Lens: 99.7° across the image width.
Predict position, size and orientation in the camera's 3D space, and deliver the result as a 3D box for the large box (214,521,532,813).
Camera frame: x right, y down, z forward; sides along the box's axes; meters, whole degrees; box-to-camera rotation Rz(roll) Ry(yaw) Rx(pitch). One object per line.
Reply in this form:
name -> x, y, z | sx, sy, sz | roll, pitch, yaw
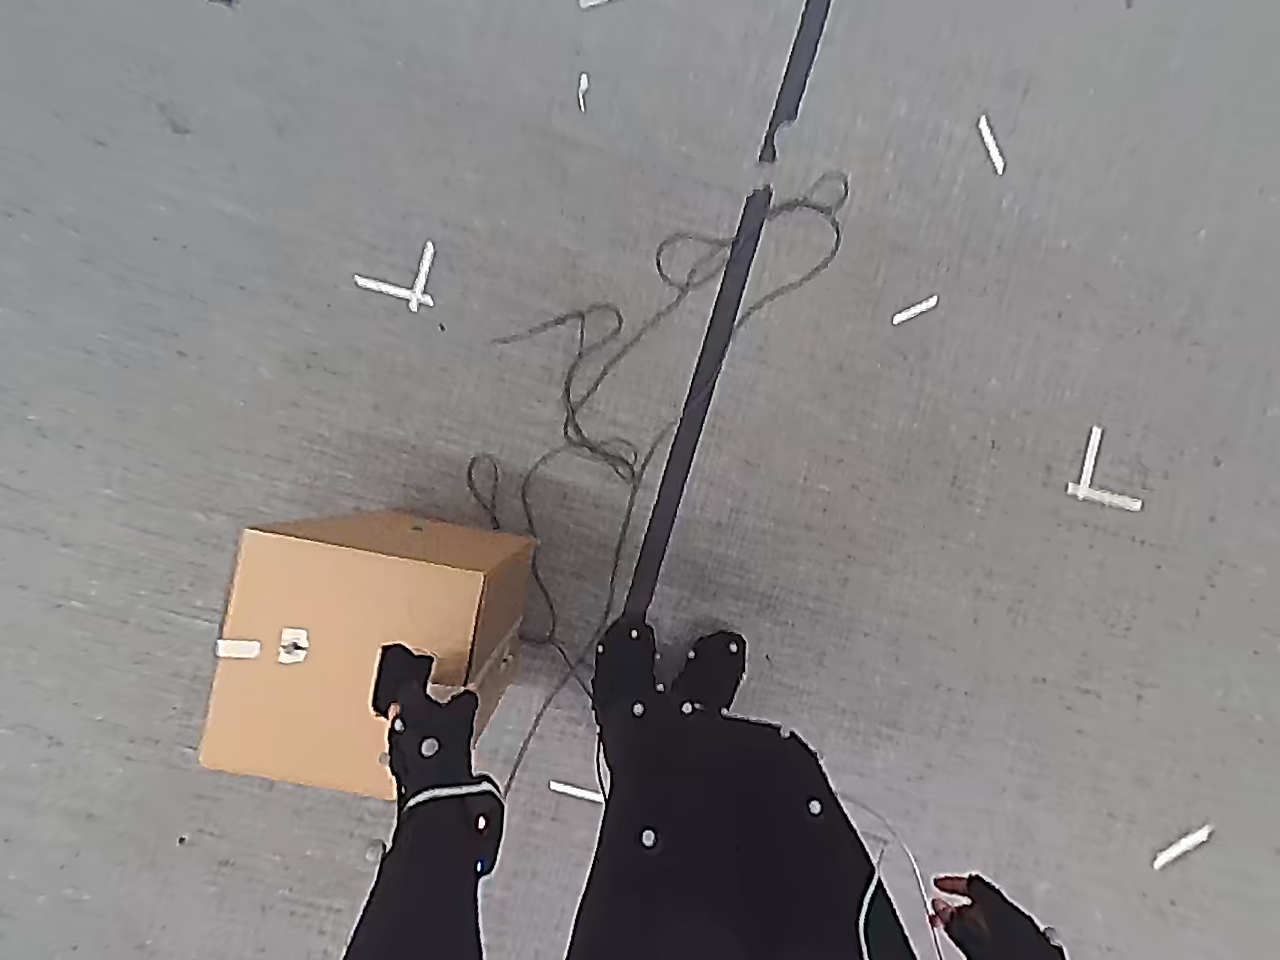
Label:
large box -> -0.387, 0.257, 0.891 | 0.320, 0.408, 0.320 | 12, 90, -2
